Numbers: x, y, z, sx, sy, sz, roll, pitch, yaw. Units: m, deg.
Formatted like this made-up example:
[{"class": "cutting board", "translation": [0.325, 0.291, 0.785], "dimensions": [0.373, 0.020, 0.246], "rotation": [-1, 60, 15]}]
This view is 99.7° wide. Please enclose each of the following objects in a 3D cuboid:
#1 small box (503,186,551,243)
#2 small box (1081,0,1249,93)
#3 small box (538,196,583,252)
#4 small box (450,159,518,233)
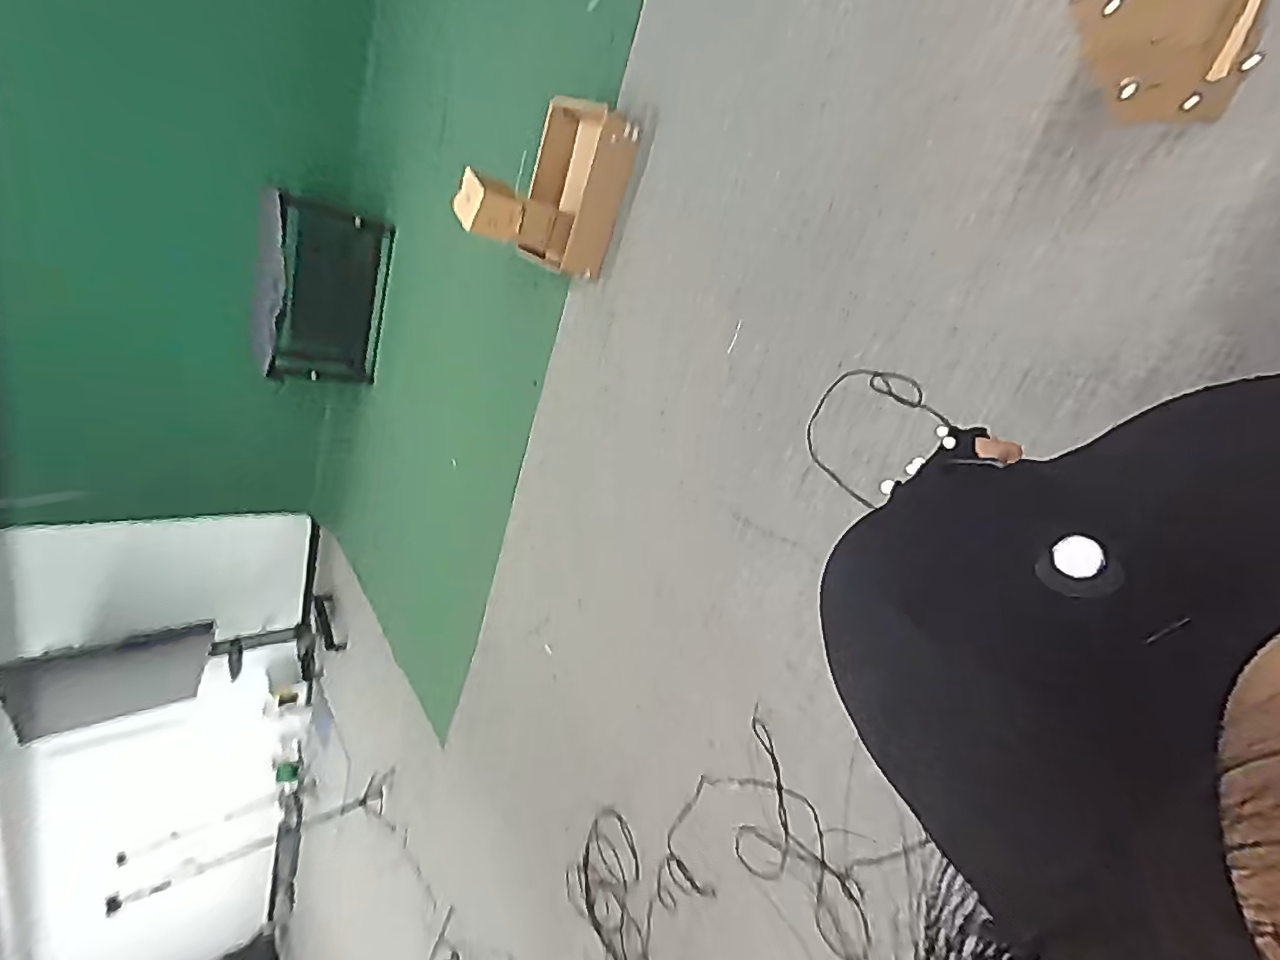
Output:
[{"class": "small box", "translation": [-0.482, -1.072, 2.173], "dimensions": [0.179, 0.176, 0.168], "rotation": [37, 115, 38]}, {"class": "small box", "translation": [0.890, -0.789, 0.909], "dimensions": [0.168, 0.176, 0.179], "rotation": [34, 116, 40]}, {"class": "small box", "translation": [-0.372, -1.086, 2.295], "dimensions": [0.179, 0.176, 0.168], "rotation": [35, 115, 38]}, {"class": "small box", "translation": [-0.589, -1.068, 2.052], "dimensions": [0.168, 0.176, 0.179], "rotation": [-49, 58, 33]}]
